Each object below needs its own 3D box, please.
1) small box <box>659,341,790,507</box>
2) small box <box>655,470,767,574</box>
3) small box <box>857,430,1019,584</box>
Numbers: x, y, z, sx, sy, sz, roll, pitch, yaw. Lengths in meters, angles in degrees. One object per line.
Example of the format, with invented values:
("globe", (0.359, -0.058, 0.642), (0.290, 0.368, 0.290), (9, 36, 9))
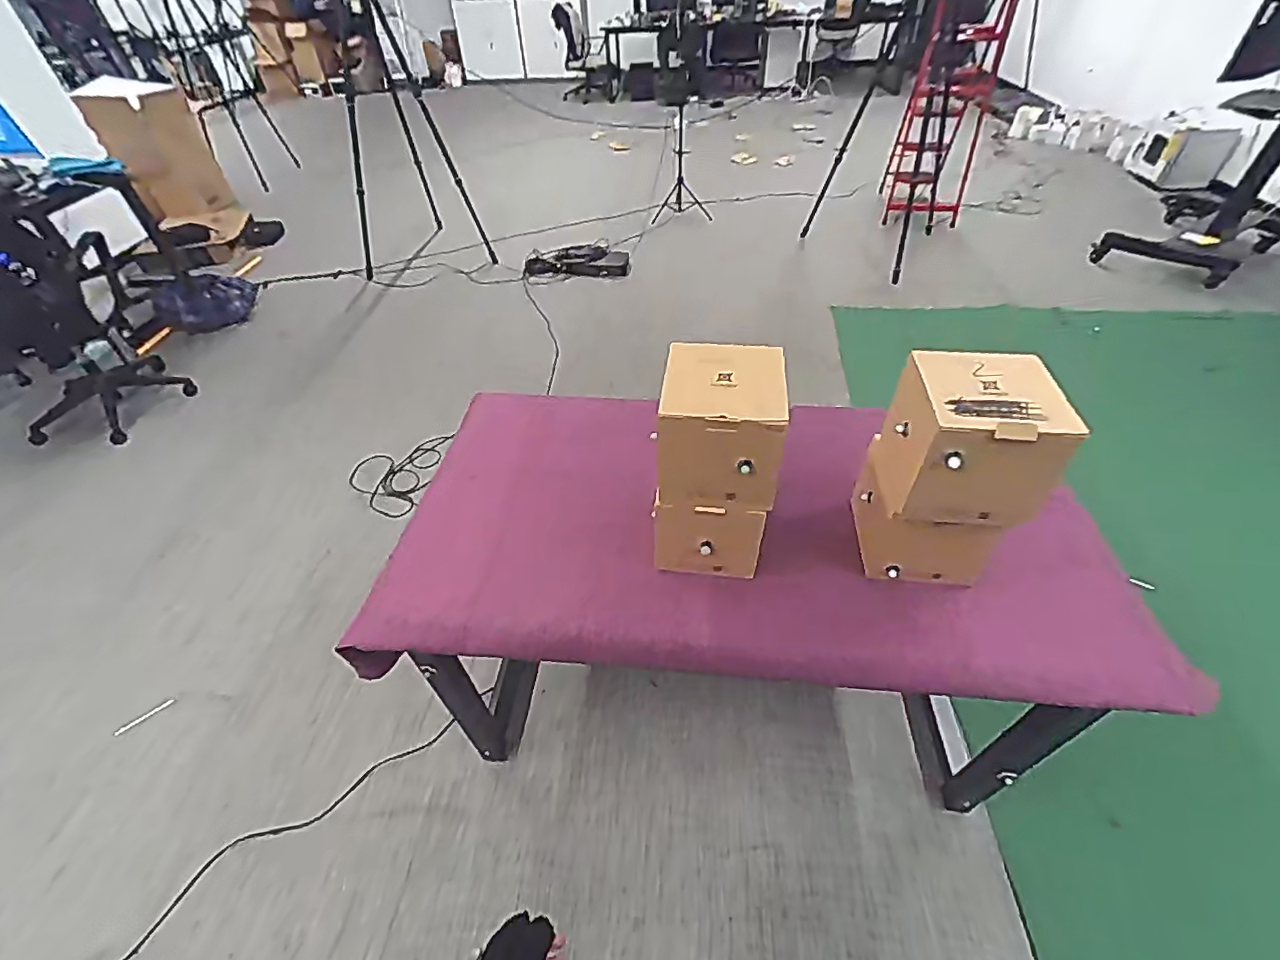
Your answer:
("small box", (0.120, -0.080, 0.781), (0.168, 0.176, 0.179), (5, 46, 7))
("small box", (0.119, 0.035, 0.897), (0.168, 0.176, 0.179), (5, 47, 8))
("small box", (0.460, 0.045, 0.867), (0.168, 0.176, 0.179), (7, 47, 7))
